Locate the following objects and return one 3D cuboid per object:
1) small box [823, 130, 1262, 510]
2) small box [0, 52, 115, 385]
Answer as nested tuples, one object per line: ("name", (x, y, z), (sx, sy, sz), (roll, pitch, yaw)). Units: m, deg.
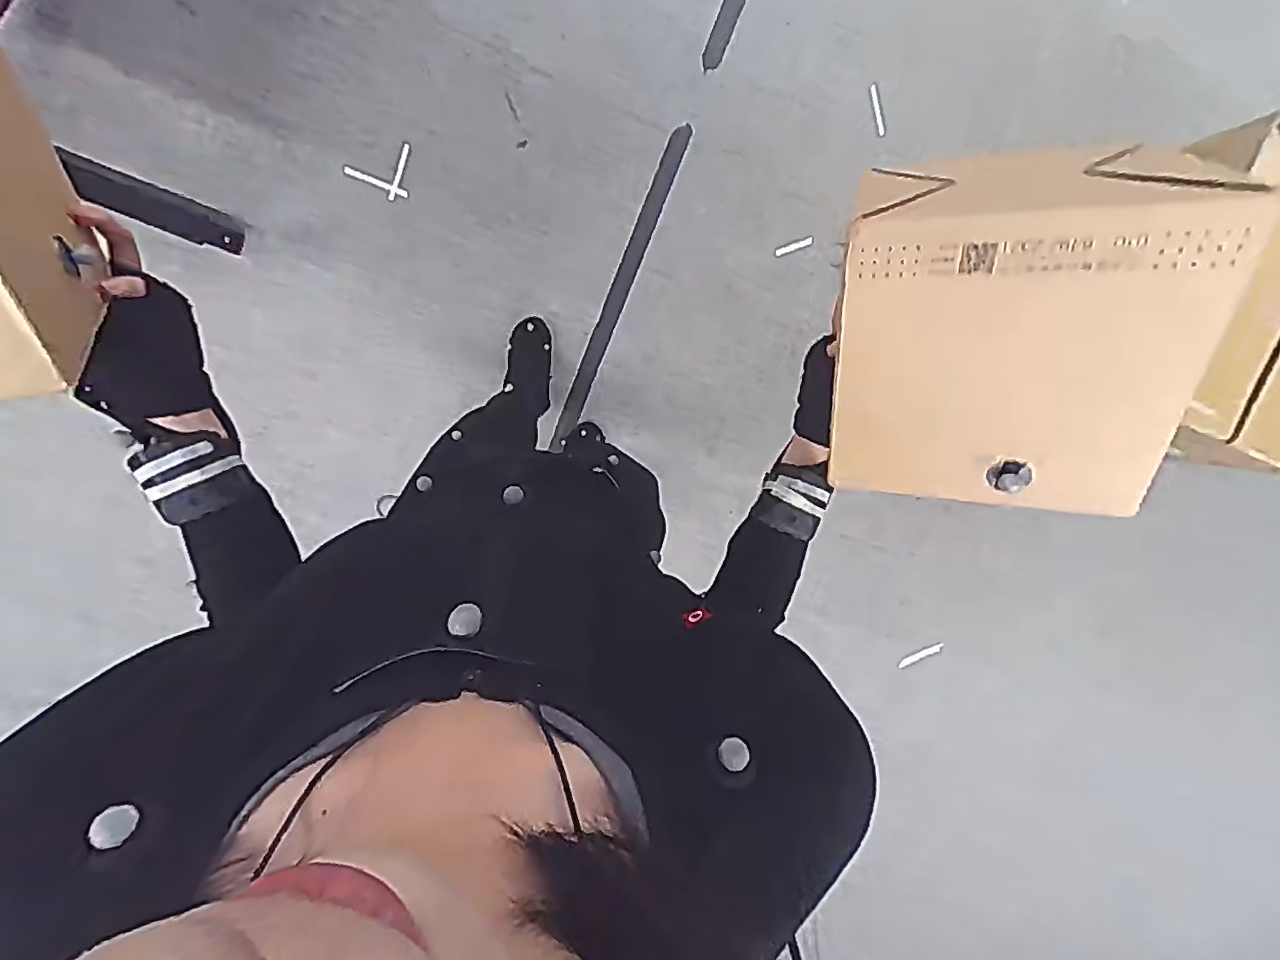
("small box", (0.216, -0.108, 0.342), (0.168, 0.179, 0.176), (7, 129, 23))
("small box", (-0.394, -0.144, 0.244), (0.168, 0.179, 0.176), (-17, 131, -25))
